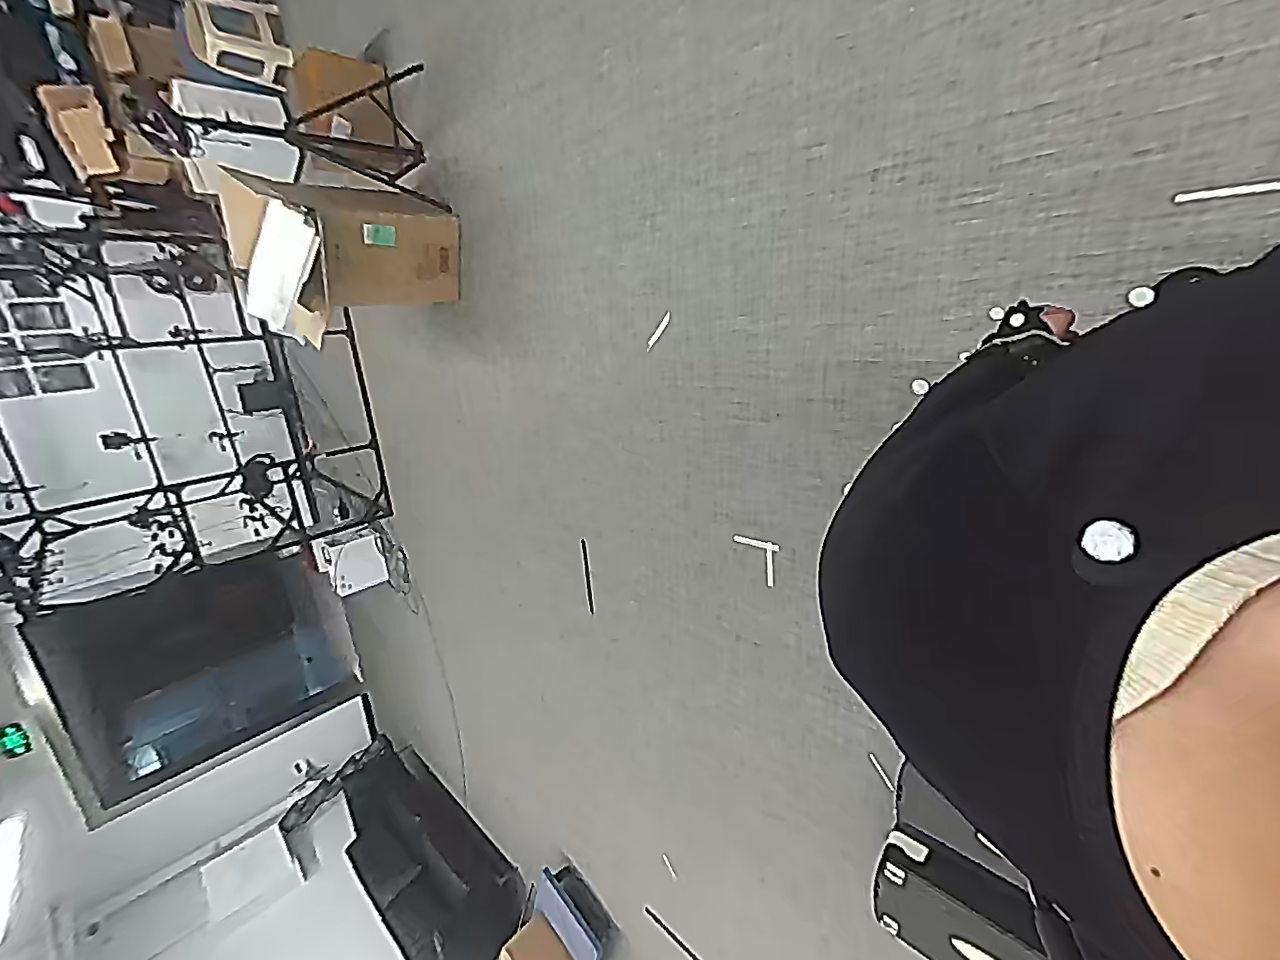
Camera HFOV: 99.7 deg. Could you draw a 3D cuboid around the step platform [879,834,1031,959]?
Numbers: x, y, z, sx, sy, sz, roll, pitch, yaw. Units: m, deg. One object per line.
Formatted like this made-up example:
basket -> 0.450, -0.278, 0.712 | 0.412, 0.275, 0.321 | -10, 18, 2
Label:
step platform -> 0.974, 1.264, 1.361 | 0.684, 0.204, 0.286 | 20, 117, 43
